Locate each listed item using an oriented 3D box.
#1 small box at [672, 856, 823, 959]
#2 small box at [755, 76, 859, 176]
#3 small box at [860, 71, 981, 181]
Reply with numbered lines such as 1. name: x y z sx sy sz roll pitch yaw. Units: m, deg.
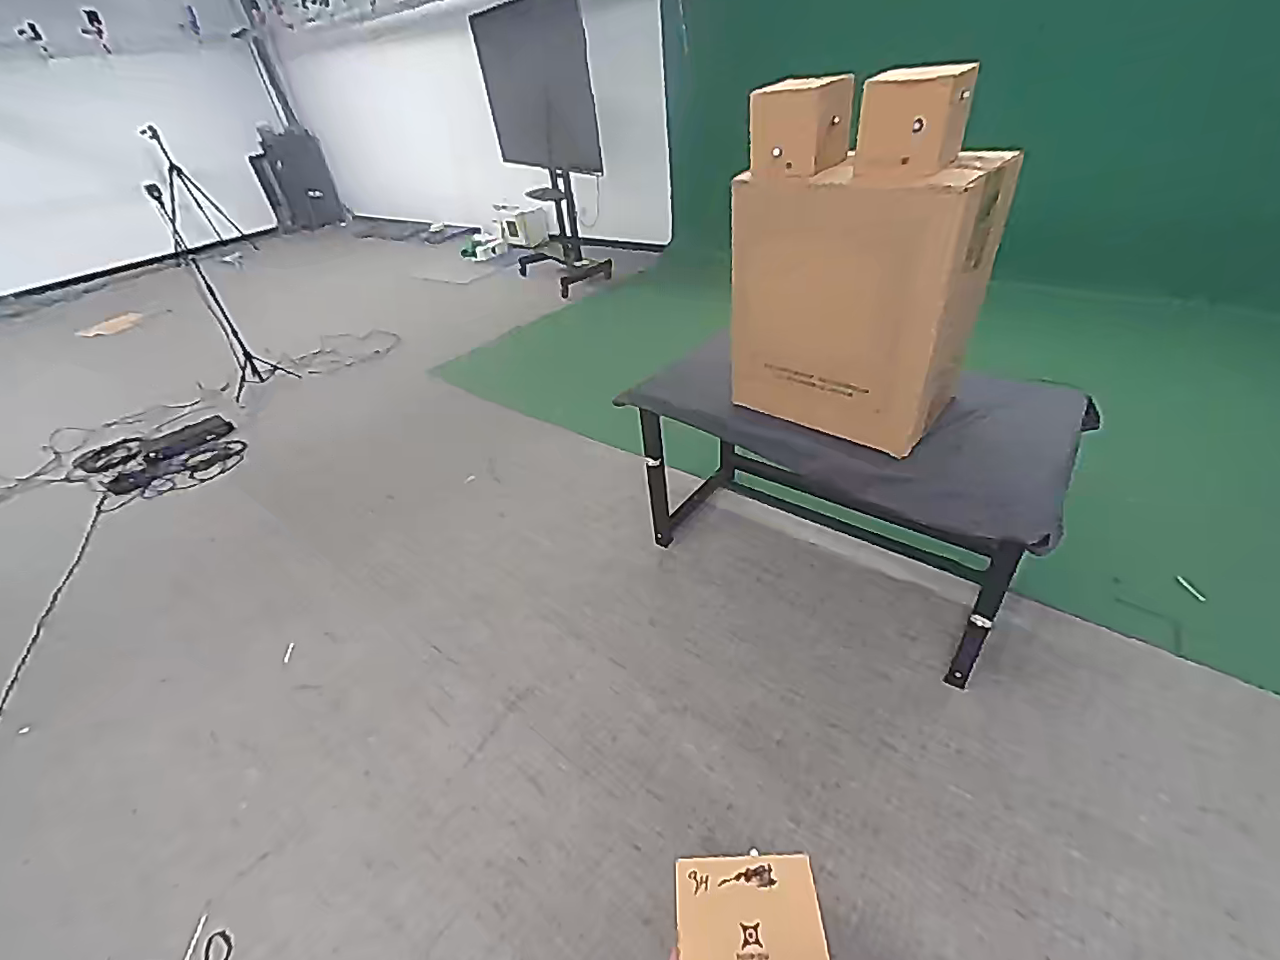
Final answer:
1. small box: 0.134 0.596 0.658 0.168 0.176 0.179 -8 35 3
2. small box: 0.378 -0.817 1.249 0.168 0.176 0.179 26 50 37
3. small box: 0.574 -0.735 1.124 0.168 0.176 0.179 24 48 30
